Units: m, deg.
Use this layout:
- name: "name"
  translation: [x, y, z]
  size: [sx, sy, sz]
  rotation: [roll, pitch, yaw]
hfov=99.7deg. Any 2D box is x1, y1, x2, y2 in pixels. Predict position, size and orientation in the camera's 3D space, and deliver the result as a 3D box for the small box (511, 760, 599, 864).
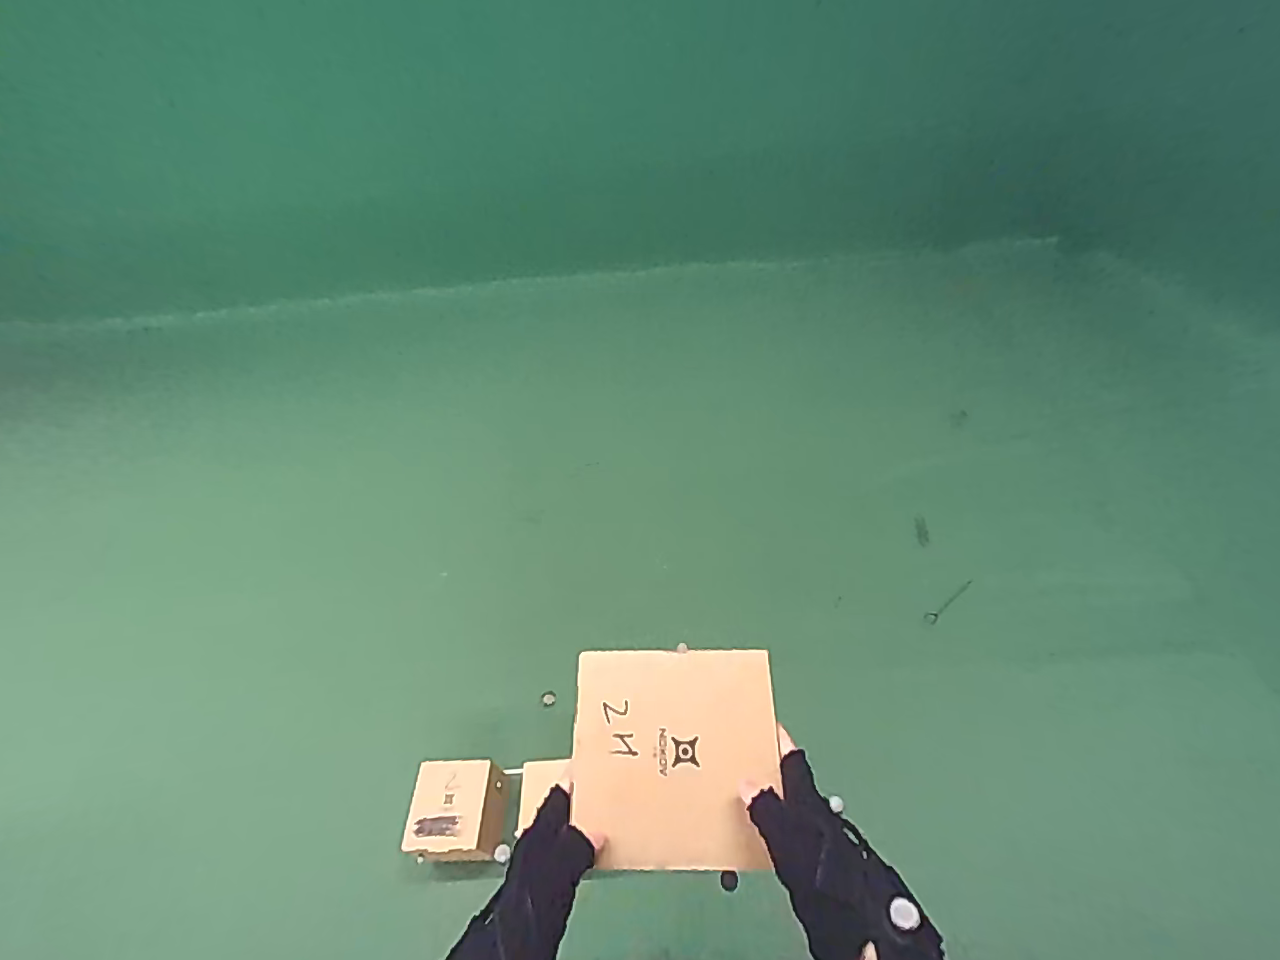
- name: "small box"
  translation: [-0.185, 0.757, 1.231]
  size: [0.168, 0.176, 0.179]
  rotation: [-4, 50, 1]
